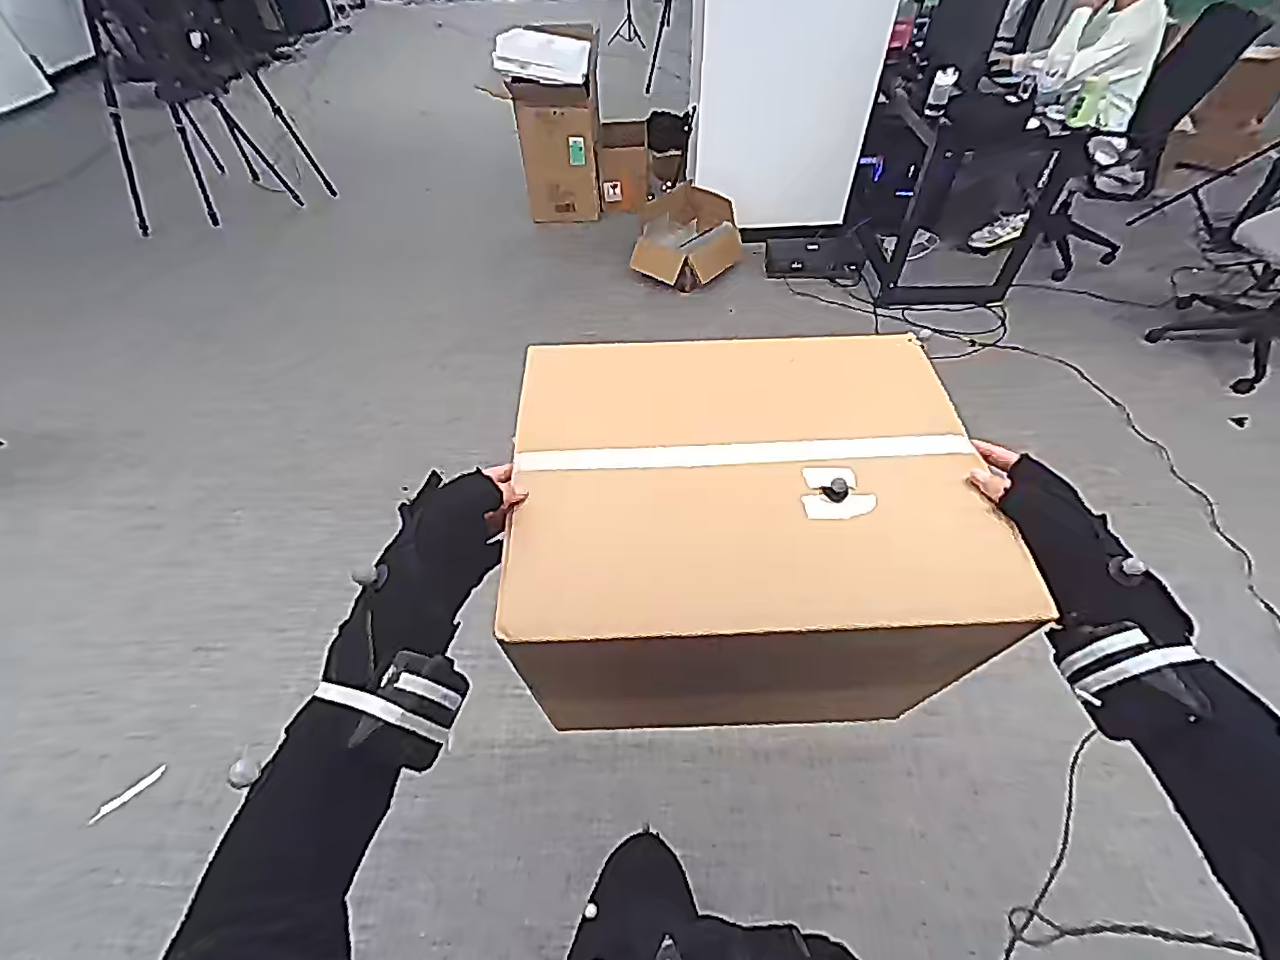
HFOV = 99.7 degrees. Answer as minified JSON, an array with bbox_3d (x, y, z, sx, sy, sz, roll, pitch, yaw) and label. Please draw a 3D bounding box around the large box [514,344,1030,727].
[{"bbox_3d":[0.093,0.072,0.611,0.408,0.320,0.320,-2,55,-1],"label":"large box"}]
